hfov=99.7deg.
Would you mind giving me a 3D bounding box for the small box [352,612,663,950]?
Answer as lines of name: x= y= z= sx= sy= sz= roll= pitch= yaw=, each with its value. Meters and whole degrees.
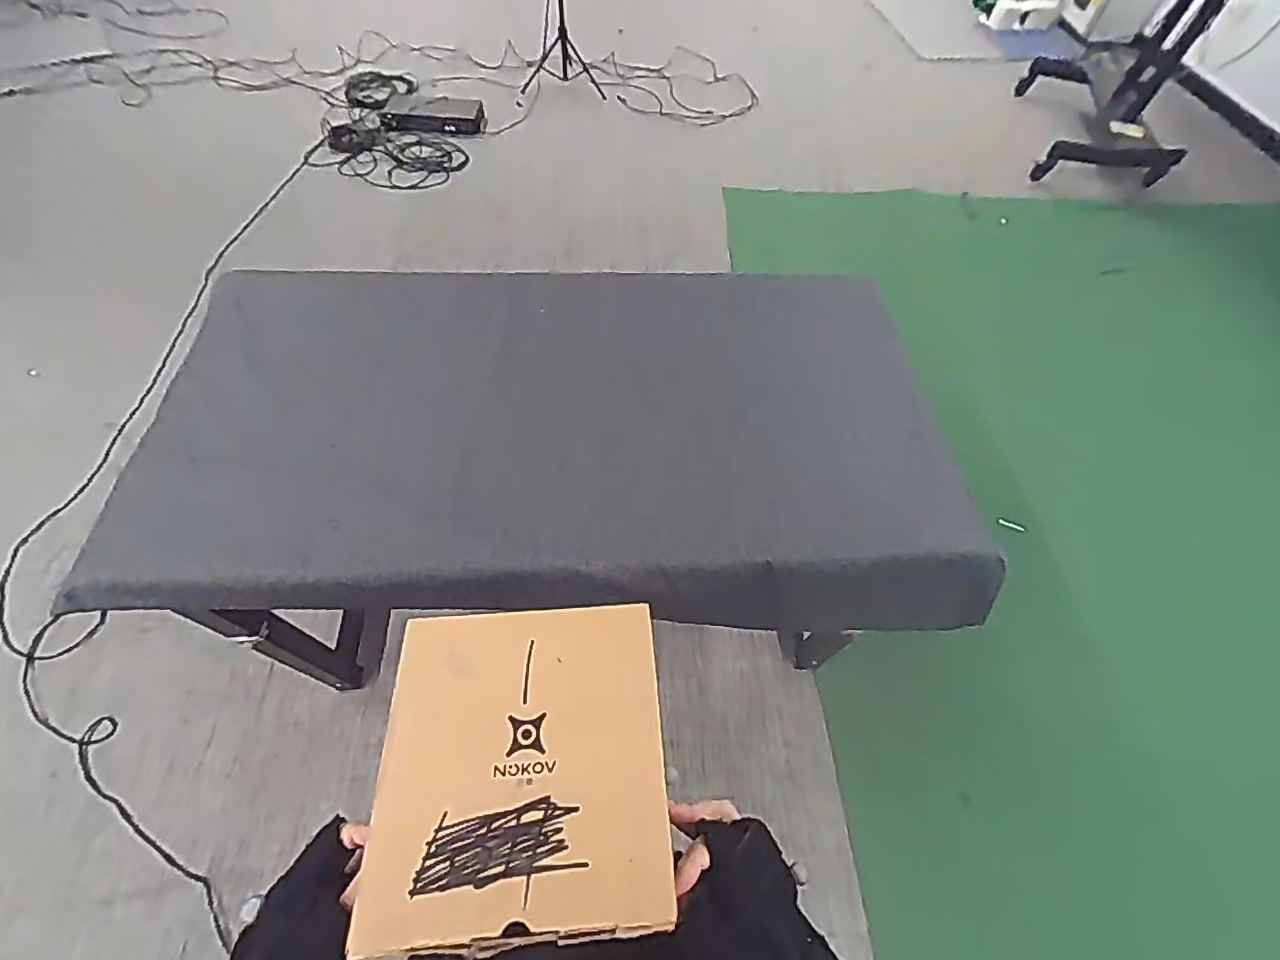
small box: x=-0.073 y=0.213 z=0.392 sx=0.168 sy=0.176 sz=0.179 roll=-2 pitch=53 yaw=-3
